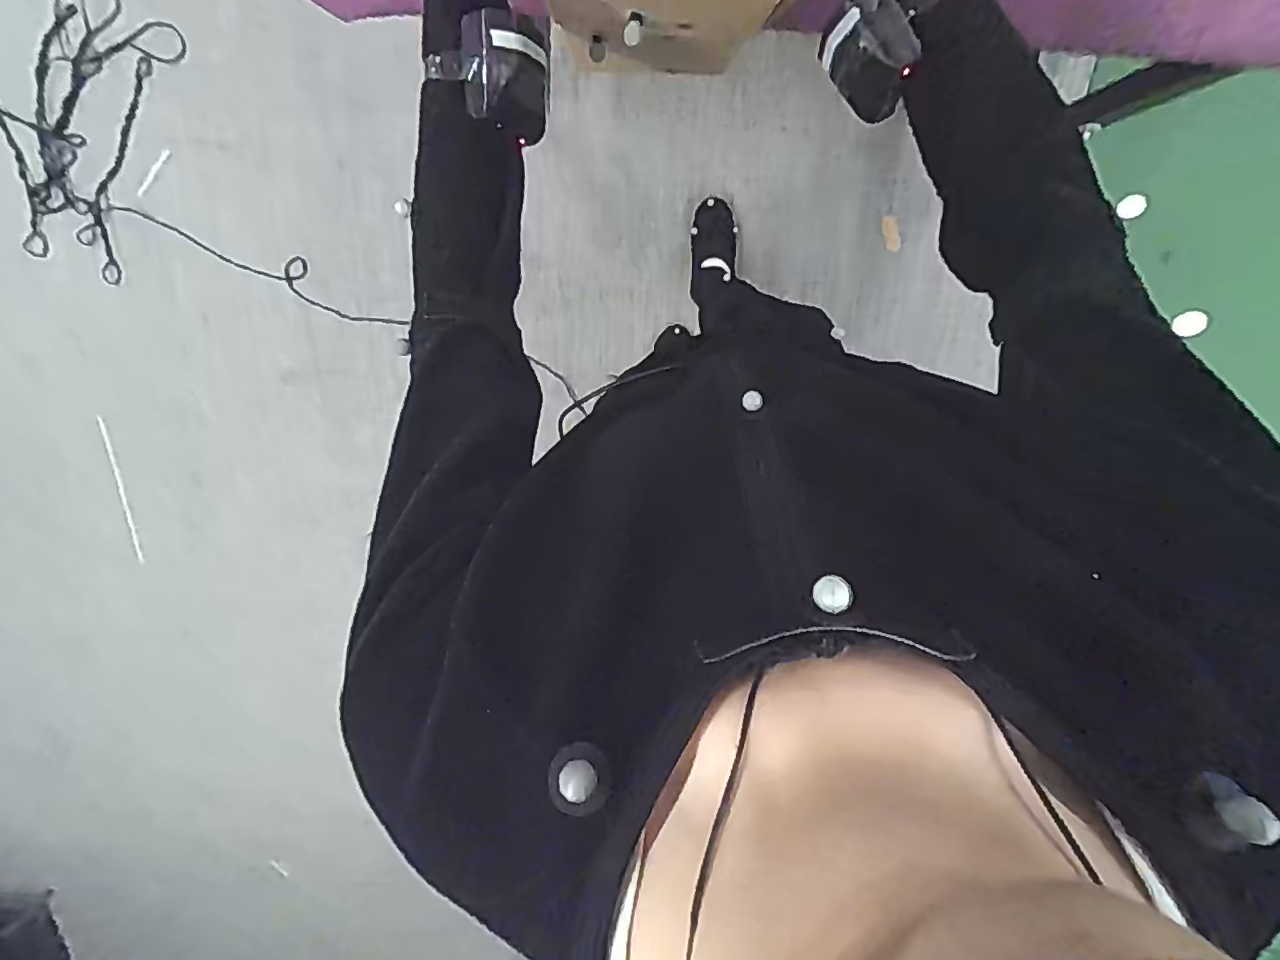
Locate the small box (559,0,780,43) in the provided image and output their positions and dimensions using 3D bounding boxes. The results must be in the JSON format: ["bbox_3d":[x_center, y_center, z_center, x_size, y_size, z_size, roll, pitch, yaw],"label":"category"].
[{"bbox_3d":[0.021,-0.409,0.334,0.168,0.176,0.179,2,116,-2],"label":"small box"}]
